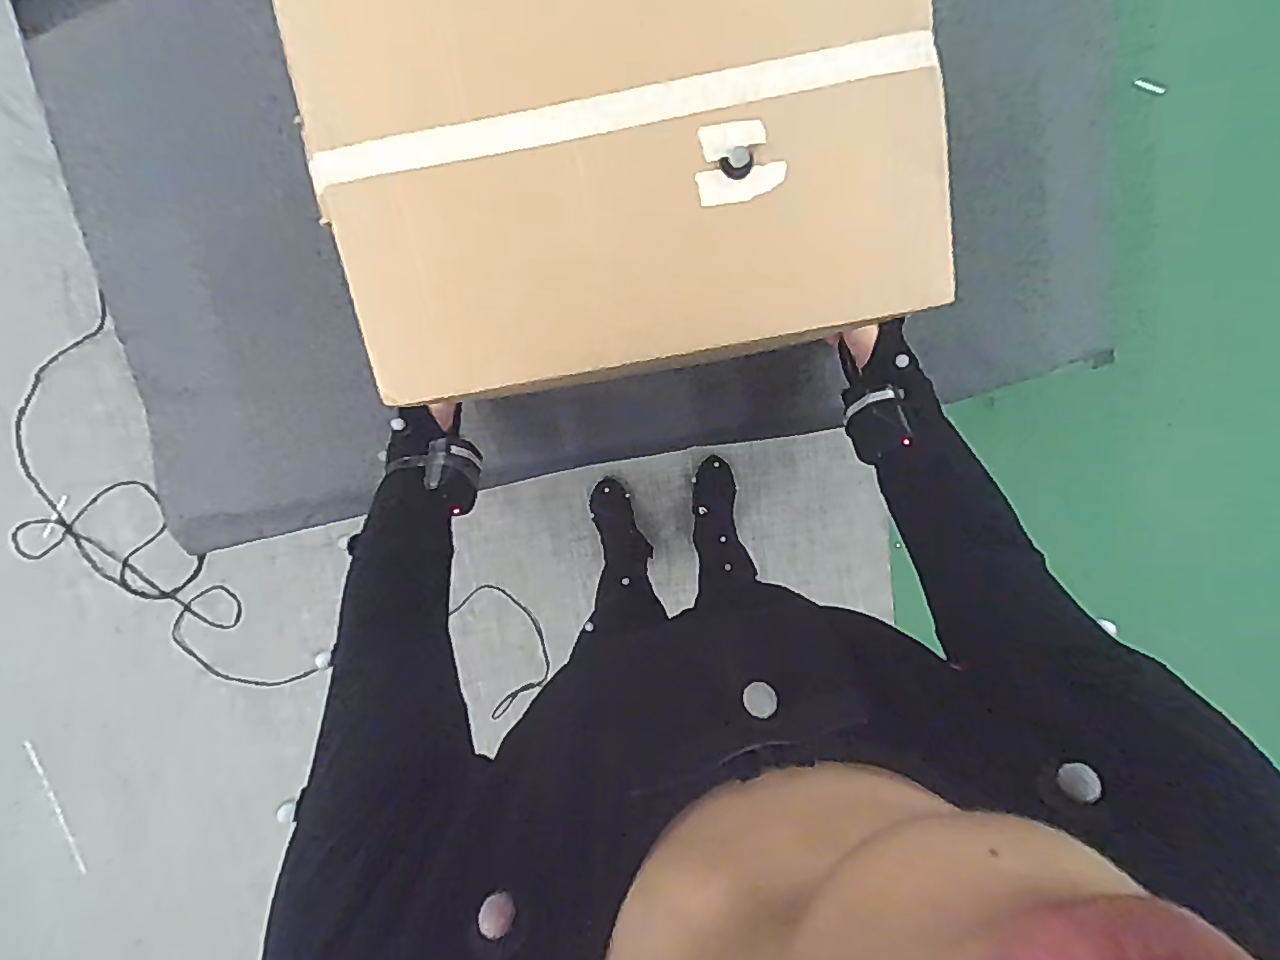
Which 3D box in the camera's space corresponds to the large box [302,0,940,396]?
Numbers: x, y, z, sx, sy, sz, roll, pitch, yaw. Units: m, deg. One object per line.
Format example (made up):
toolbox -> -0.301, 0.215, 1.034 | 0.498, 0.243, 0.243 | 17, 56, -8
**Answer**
large box -> -0.010, -0.270, 0.514 | 0.408, 0.320, 0.320 | -10, 100, 1
